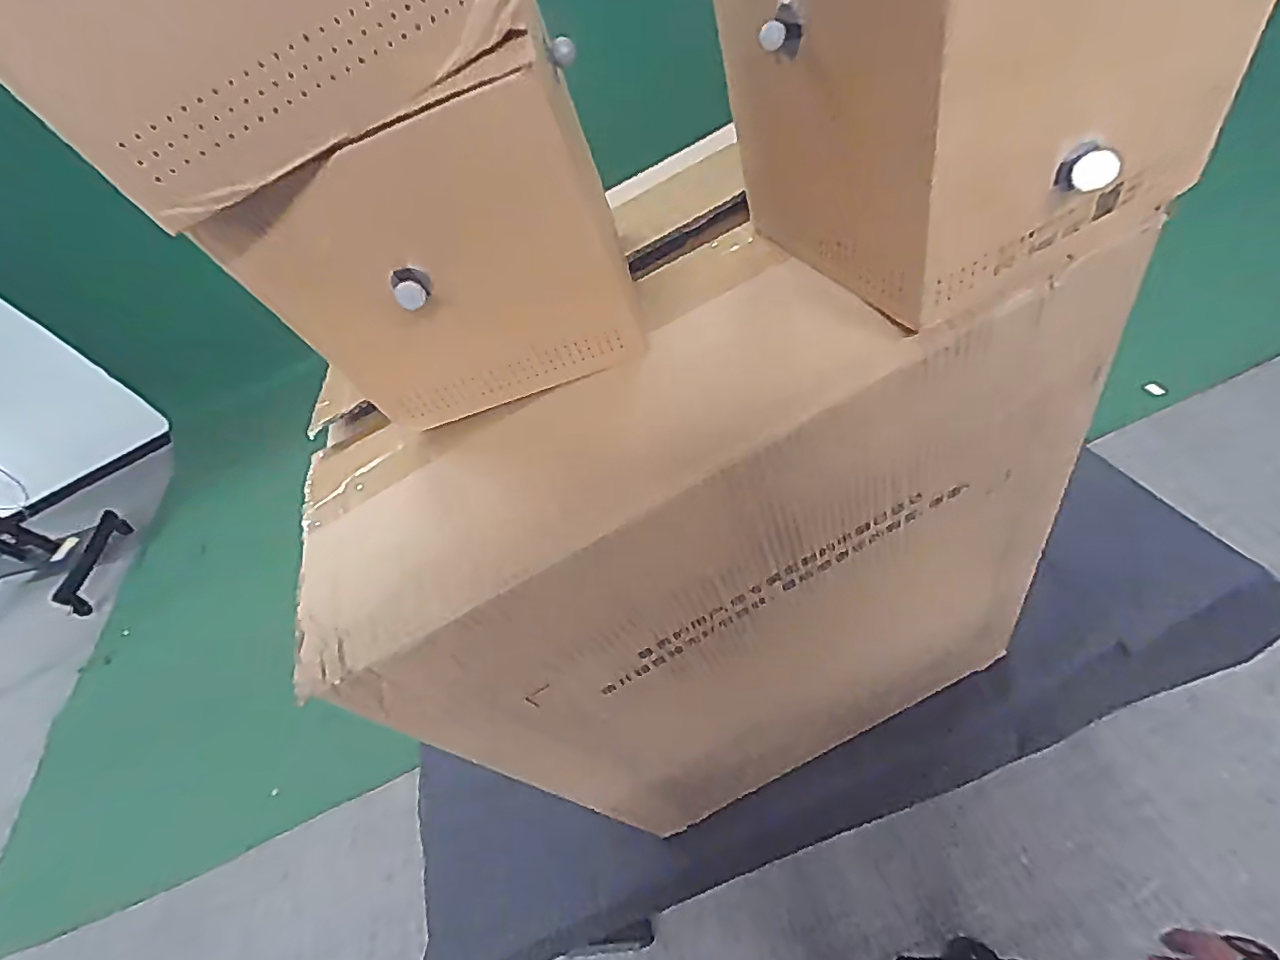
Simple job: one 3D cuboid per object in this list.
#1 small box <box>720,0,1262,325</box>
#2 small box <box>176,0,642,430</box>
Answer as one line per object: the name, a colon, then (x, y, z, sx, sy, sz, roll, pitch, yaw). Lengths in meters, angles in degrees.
small box: (0.154, -0.211, 0.277, 0.168, 0.176, 0.179, -28, 47, -1)
small box: (-0.115, -0.156, 0.336, 0.179, 0.176, 0.168, -18, 56, 9)
